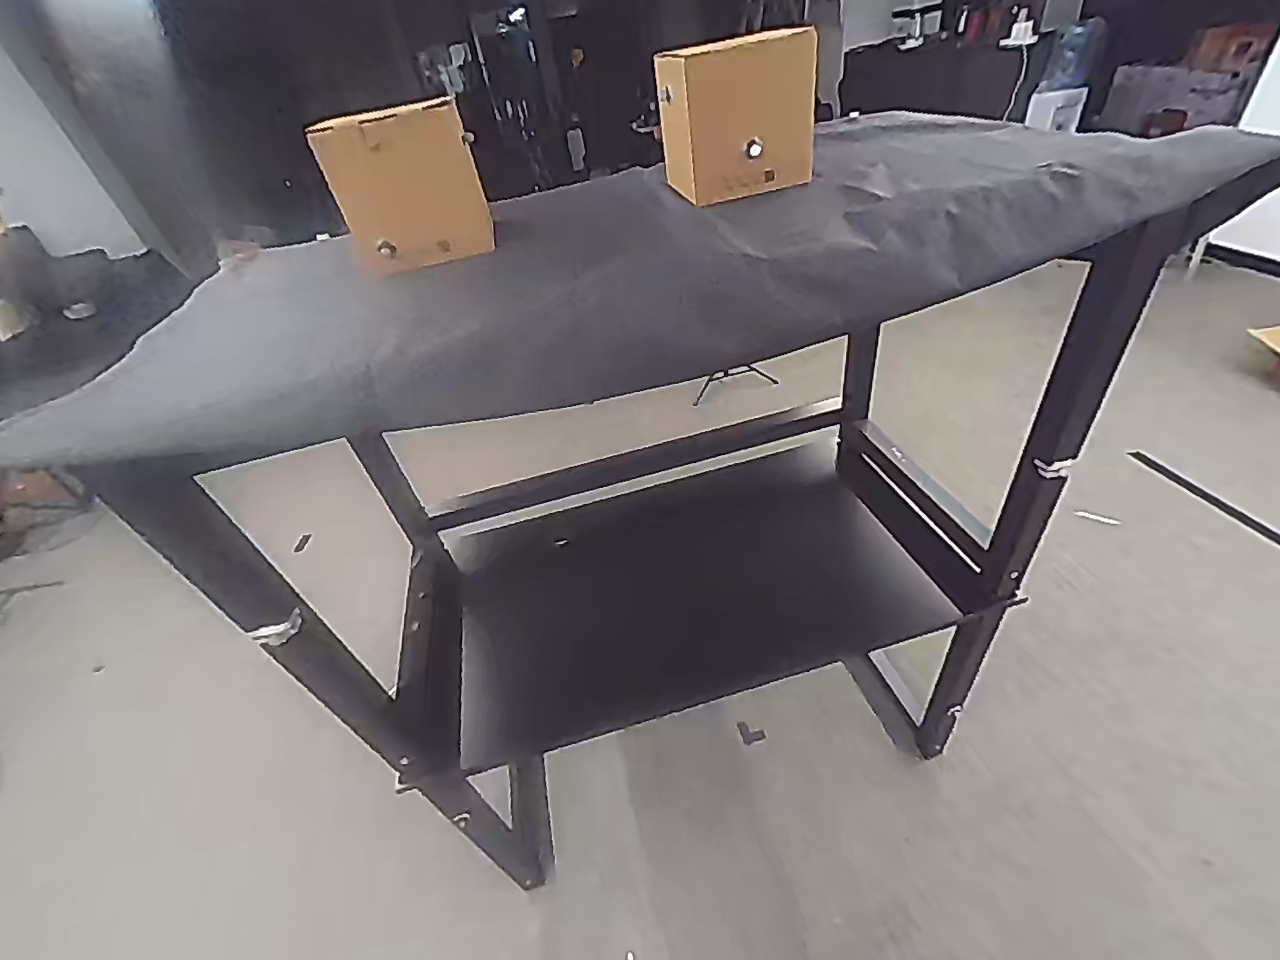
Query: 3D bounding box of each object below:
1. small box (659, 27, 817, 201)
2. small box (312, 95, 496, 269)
[{"bbox_3d":[0.130,-0.506,0.755,0.168,0.176,0.179,-14,39,-2],"label":"small box"},{"bbox_3d":[-0.300,-0.400,0.733,0.168,0.176,0.179,-15,39,-5],"label":"small box"}]
